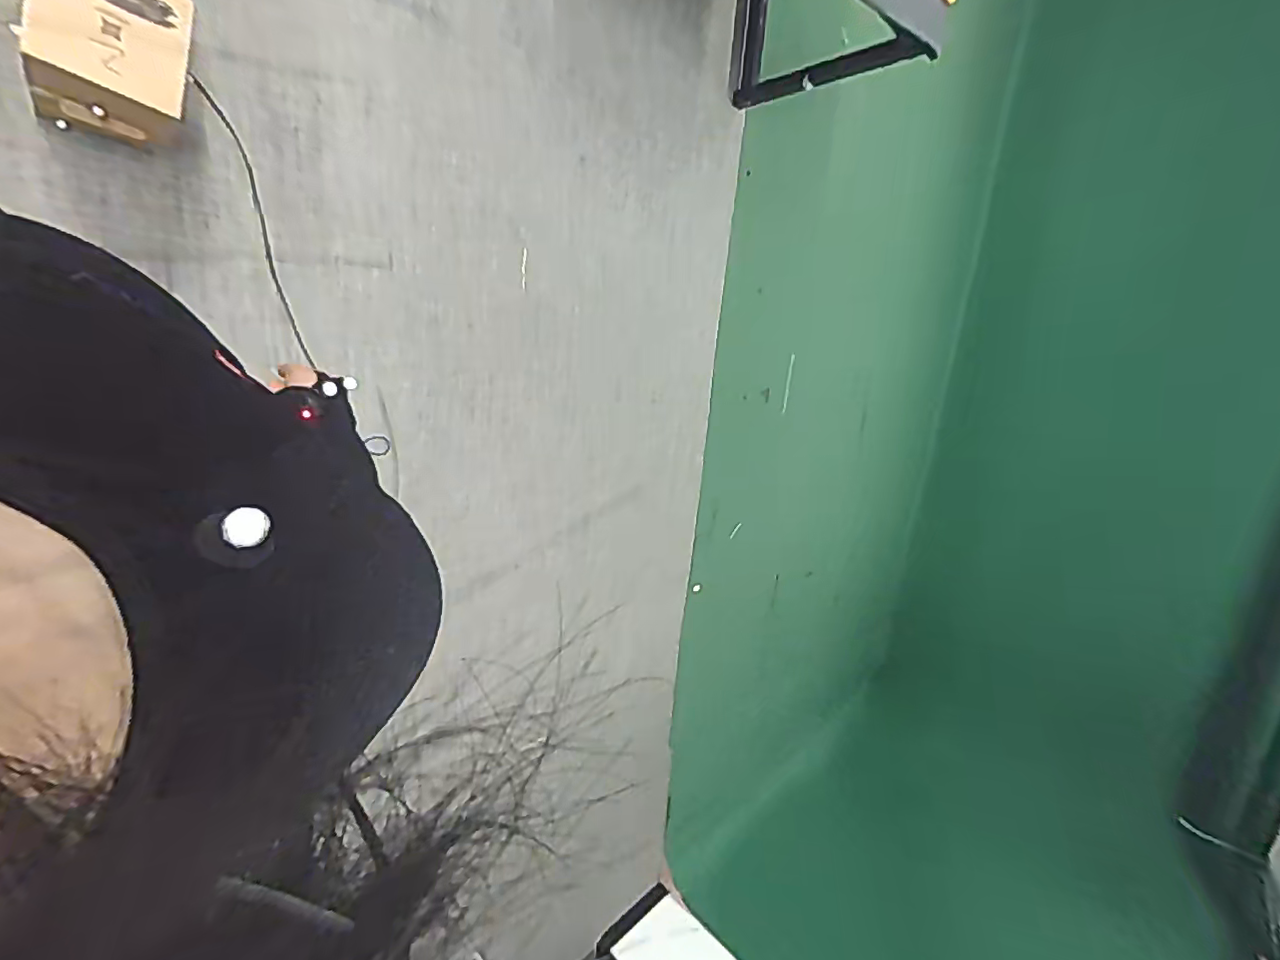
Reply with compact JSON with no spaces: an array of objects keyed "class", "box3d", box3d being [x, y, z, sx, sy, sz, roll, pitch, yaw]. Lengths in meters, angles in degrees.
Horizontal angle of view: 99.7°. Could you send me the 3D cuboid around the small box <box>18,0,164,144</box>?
[{"class":"small box","box3d":[-0.927,-0.706,0.919,0.168,0.176,0.179,-2,104,-46]}]
